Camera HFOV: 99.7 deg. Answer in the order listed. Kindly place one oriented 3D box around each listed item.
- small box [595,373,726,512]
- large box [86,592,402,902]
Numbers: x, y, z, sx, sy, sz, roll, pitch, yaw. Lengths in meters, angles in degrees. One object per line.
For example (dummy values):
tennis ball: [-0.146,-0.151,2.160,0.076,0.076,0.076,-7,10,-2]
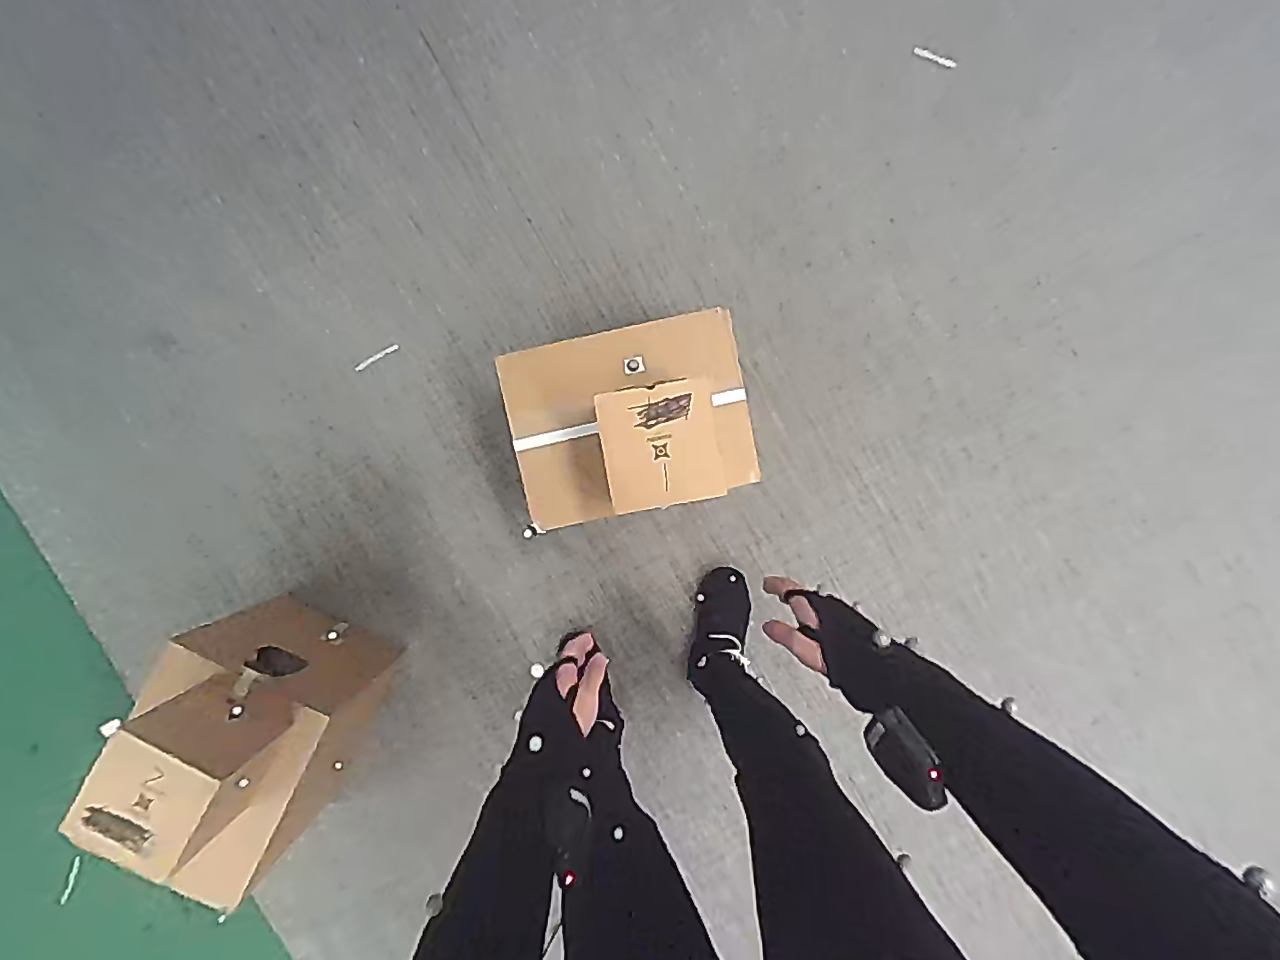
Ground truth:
small box: [0.026,-0.056,0.835,0.168,0.176,0.179,-10,94,0]
large box: [-0.756,0.500,1.094,0.320,0.320,0.408,27,93,-1]
